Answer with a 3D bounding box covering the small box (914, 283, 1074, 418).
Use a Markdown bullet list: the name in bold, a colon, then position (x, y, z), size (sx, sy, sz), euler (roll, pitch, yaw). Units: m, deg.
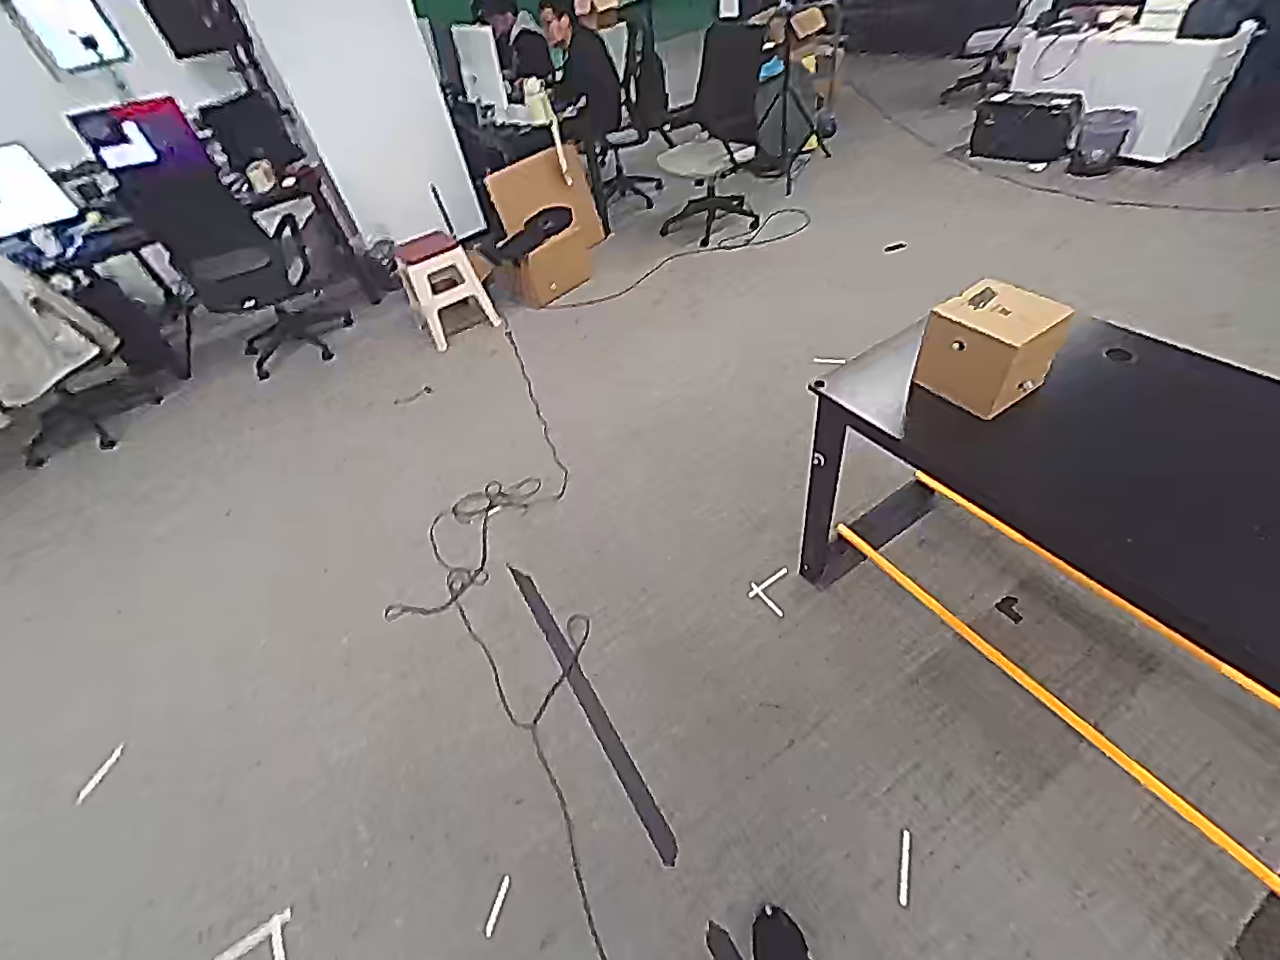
- **small box**: position (0.670, -0.249, 1.049), size (0.168, 0.176, 0.179), euler (-29, 49, -16)
